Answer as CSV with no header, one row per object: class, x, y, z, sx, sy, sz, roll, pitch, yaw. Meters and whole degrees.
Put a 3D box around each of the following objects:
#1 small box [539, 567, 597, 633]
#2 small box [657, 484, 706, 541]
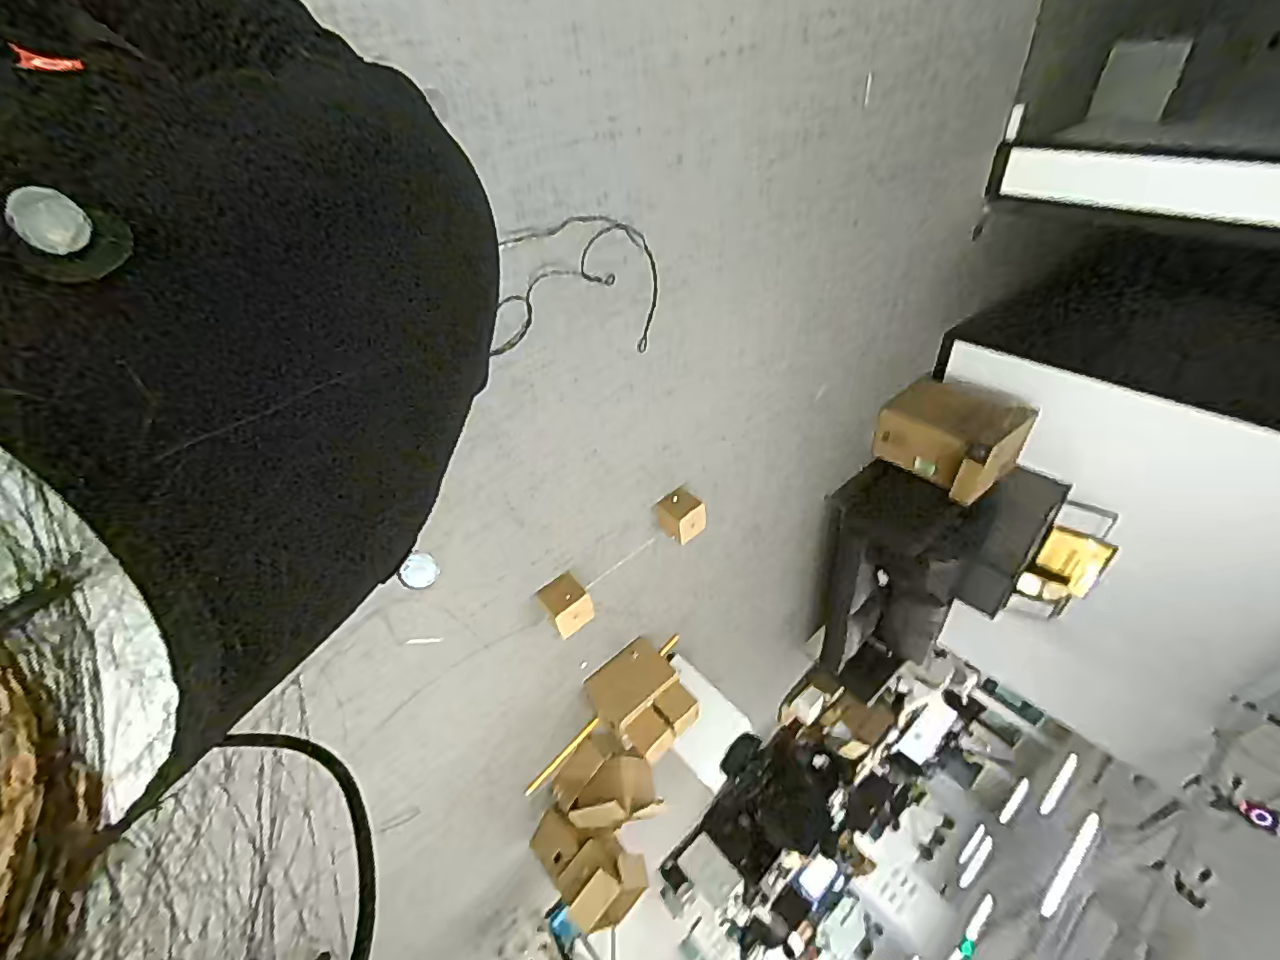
small box,-0.315,0.514,2.326,0.179,0.176,0.168,-34,137,-25
small box,0.201,0.152,2.595,0.168,0.176,0.179,-34,138,-24
